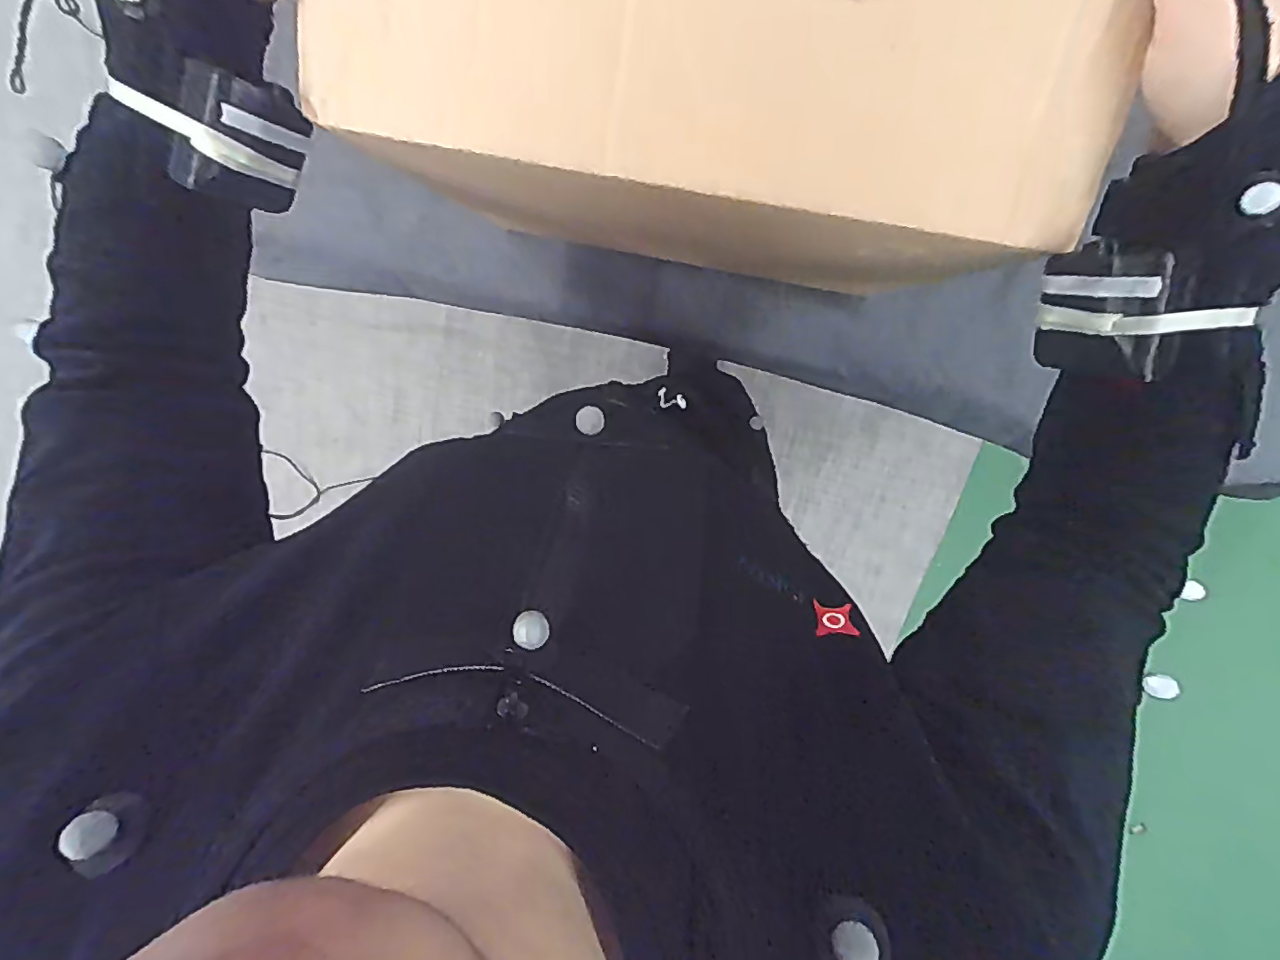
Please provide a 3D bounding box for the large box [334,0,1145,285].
[{"bbox_3d":[0.061,-0.344,0.394,0.408,0.320,0.320,10,106,1],"label":"large box"}]
